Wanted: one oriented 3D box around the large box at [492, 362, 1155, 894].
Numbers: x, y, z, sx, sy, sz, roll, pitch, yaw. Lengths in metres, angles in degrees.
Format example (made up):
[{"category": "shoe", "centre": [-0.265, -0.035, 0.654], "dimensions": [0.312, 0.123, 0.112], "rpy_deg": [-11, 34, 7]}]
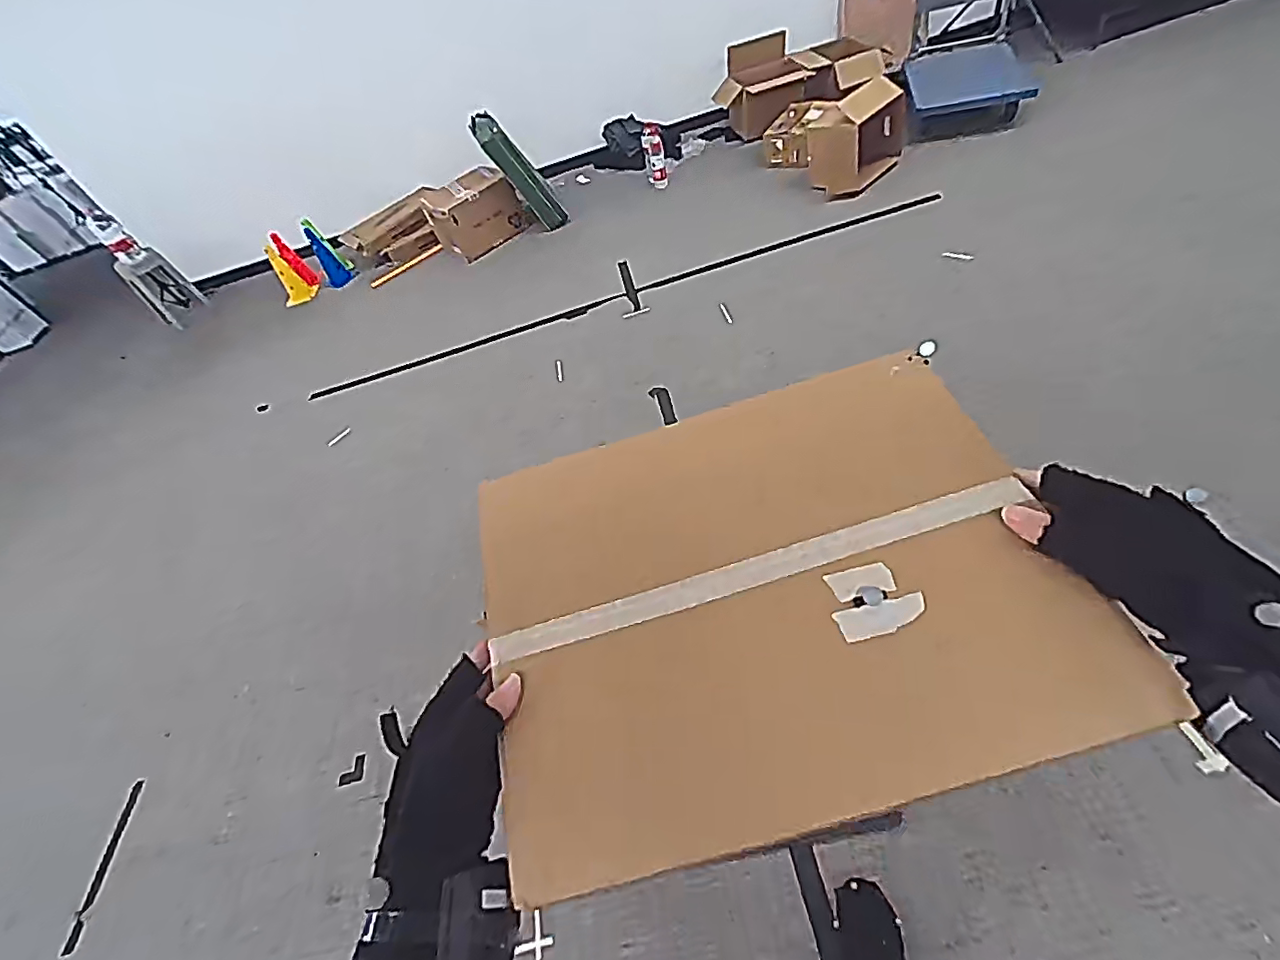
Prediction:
[{"category": "large box", "centre": [0.114, 0.152, 0.532], "dimensions": [0.408, 0.320, 0.320], "rpy_deg": [-18, 56, 1]}]
